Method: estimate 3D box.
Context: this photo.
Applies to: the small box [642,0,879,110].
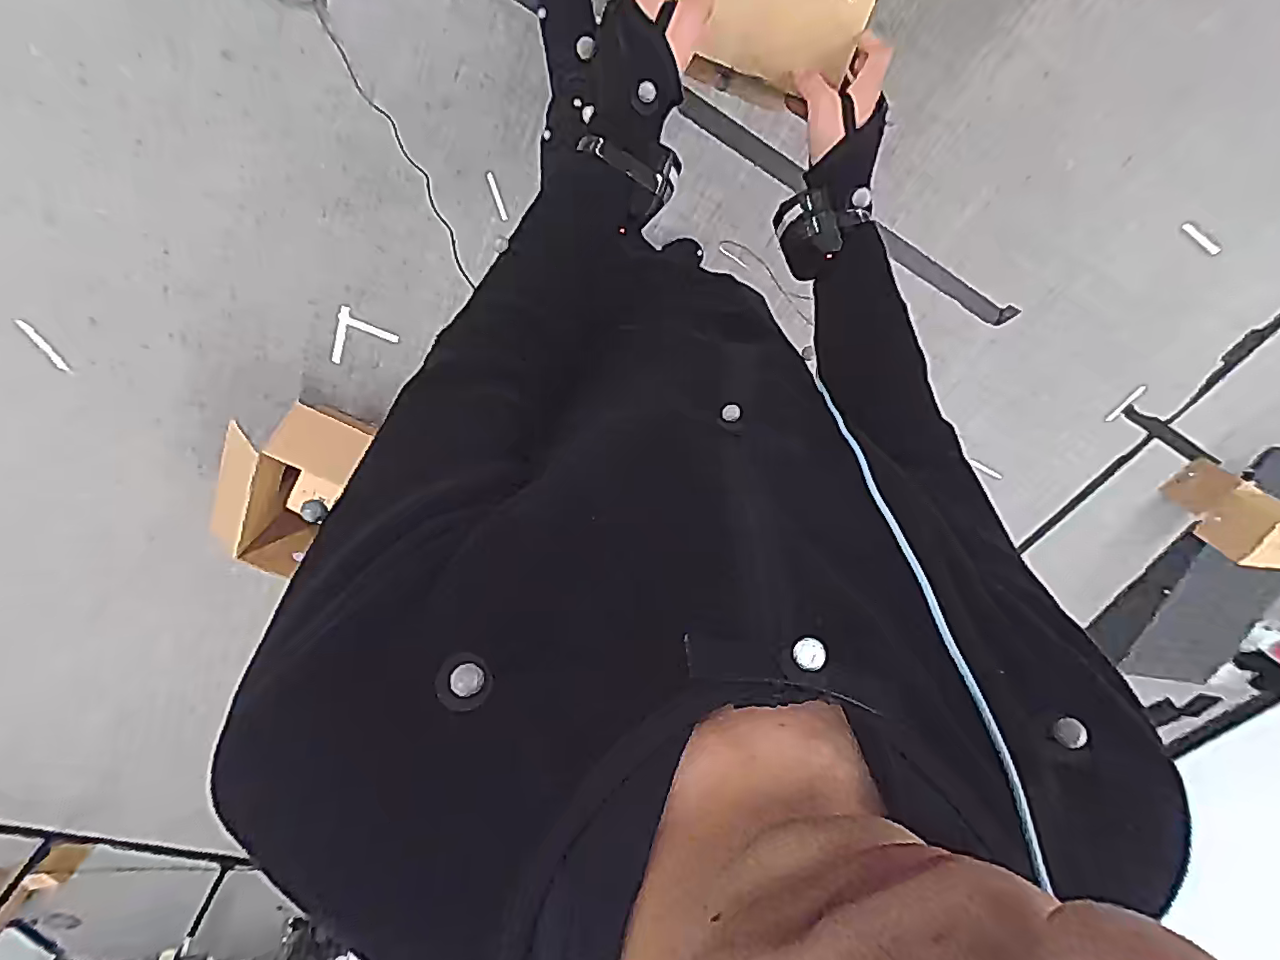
[{"bbox_3d":[0.113,-0.472,0.510,0.179,0.176,0.168,10,122,-18],"label":"small box"}]
